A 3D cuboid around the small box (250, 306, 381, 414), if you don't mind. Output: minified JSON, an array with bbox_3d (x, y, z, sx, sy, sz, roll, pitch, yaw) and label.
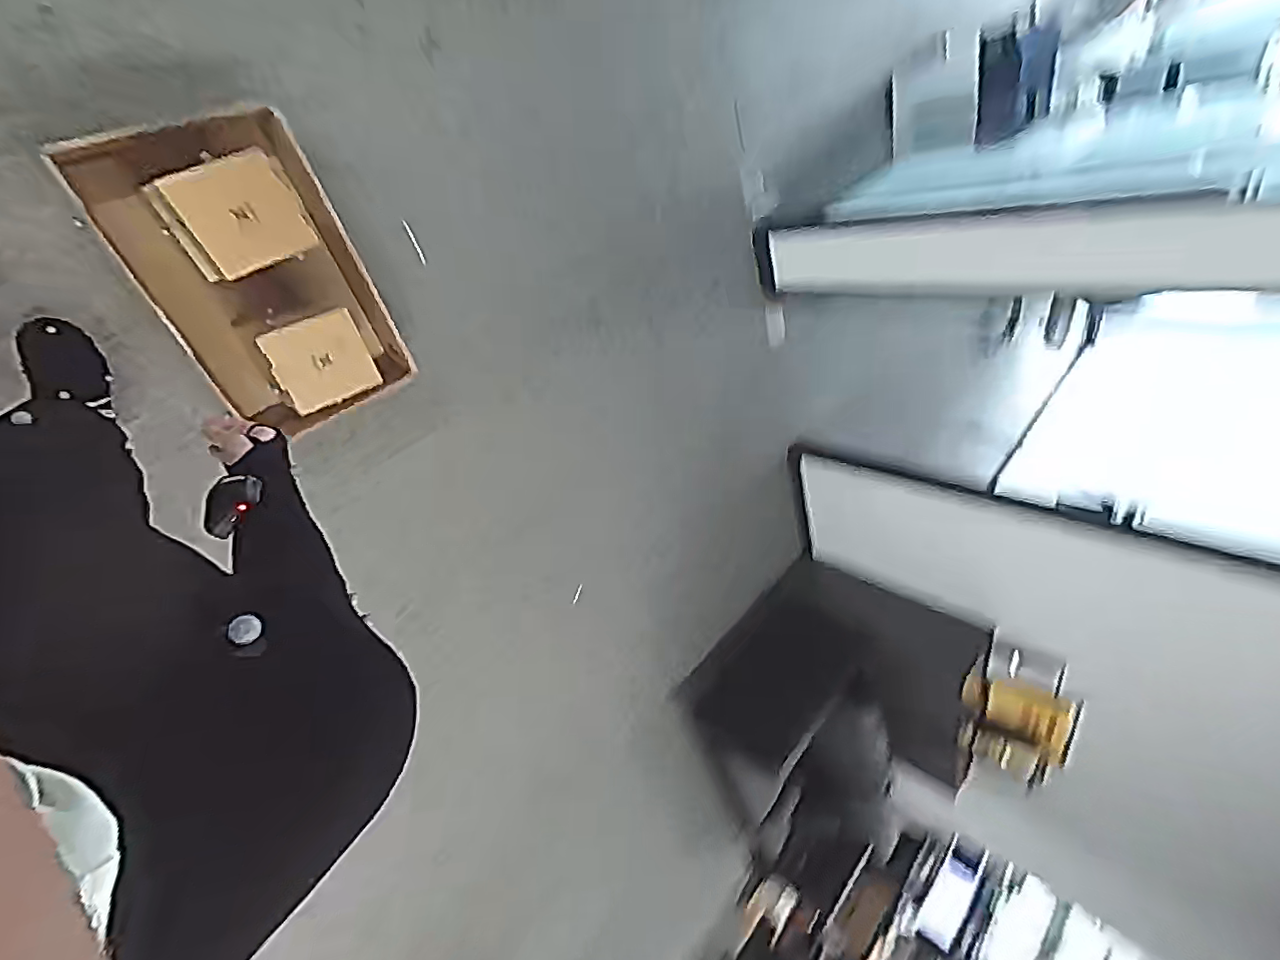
[{"bbox_3d":[-0.690,-0.260,1.144,0.179,0.176,0.168,-33,127,-30],"label":"small box"}]

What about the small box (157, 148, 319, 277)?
[{"bbox_3d":[-0.745,-0.490,1.006,0.179,0.176,0.168,-40,130,-26],"label":"small box"}]
